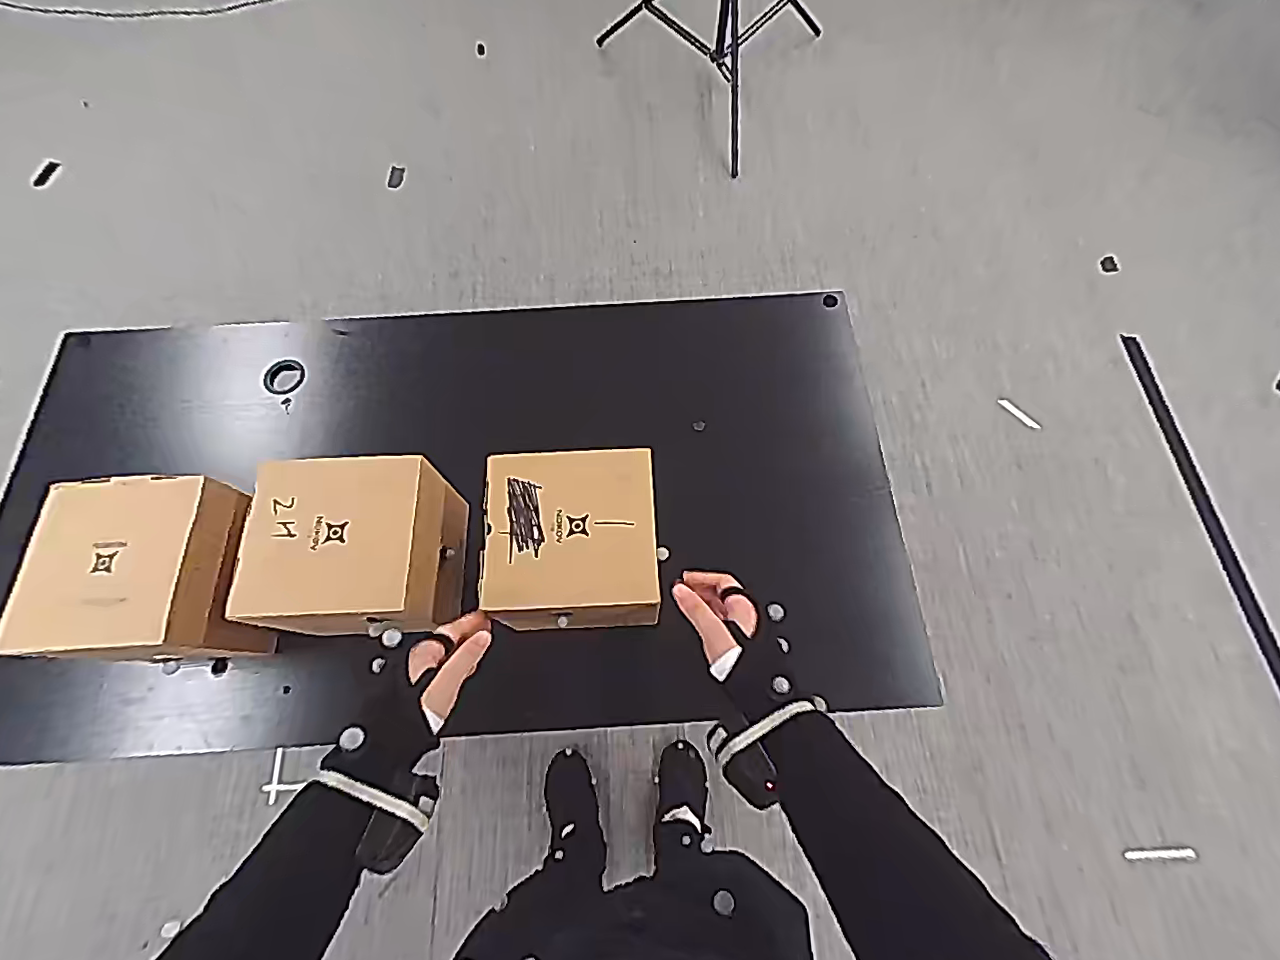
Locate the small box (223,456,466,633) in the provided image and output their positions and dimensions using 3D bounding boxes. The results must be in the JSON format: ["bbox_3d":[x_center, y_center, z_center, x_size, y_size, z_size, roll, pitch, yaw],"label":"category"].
[{"bbox_3d":[-0.311,0.081,0.615,0.179,0.176,0.168,-2,68,0],"label":"small box"}]

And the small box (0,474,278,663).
[{"bbox_3d":[-0.530,0.107,0.610,0.168,0.176,0.179,-4,69,0],"label":"small box"}]
